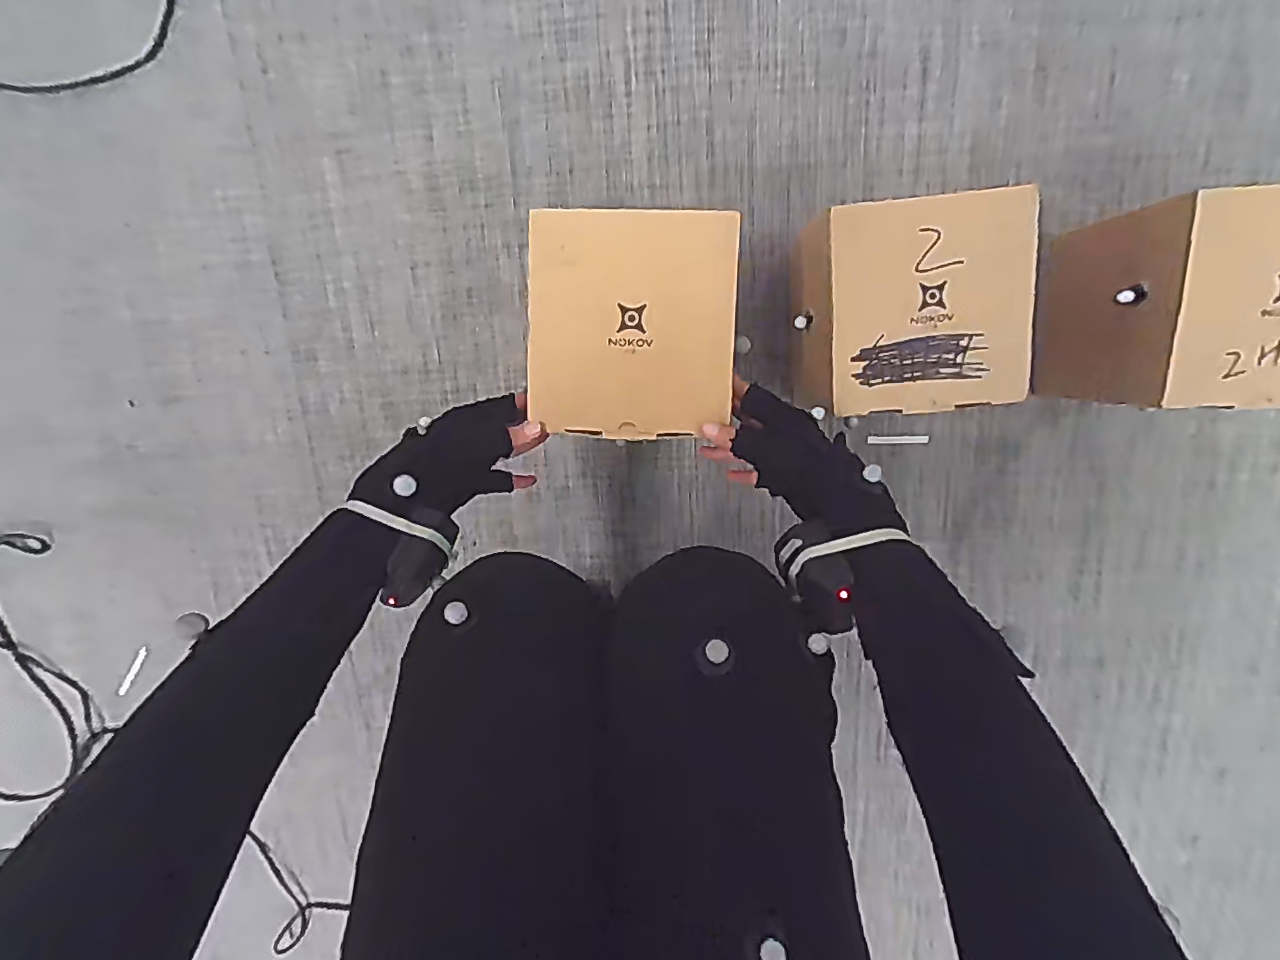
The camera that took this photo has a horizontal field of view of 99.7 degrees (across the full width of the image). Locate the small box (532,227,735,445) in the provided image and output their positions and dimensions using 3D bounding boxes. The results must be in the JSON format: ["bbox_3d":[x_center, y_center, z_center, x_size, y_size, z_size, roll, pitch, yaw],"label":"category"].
[{"bbox_3d":[-0.003,-0.125,0.524,0.168,0.176,0.179,1,96,4],"label":"small box"}]

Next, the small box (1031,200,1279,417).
[{"bbox_3d":[0.522,-0.157,0.529,0.168,0.176,0.179,-1,103,5],"label":"small box"}]
